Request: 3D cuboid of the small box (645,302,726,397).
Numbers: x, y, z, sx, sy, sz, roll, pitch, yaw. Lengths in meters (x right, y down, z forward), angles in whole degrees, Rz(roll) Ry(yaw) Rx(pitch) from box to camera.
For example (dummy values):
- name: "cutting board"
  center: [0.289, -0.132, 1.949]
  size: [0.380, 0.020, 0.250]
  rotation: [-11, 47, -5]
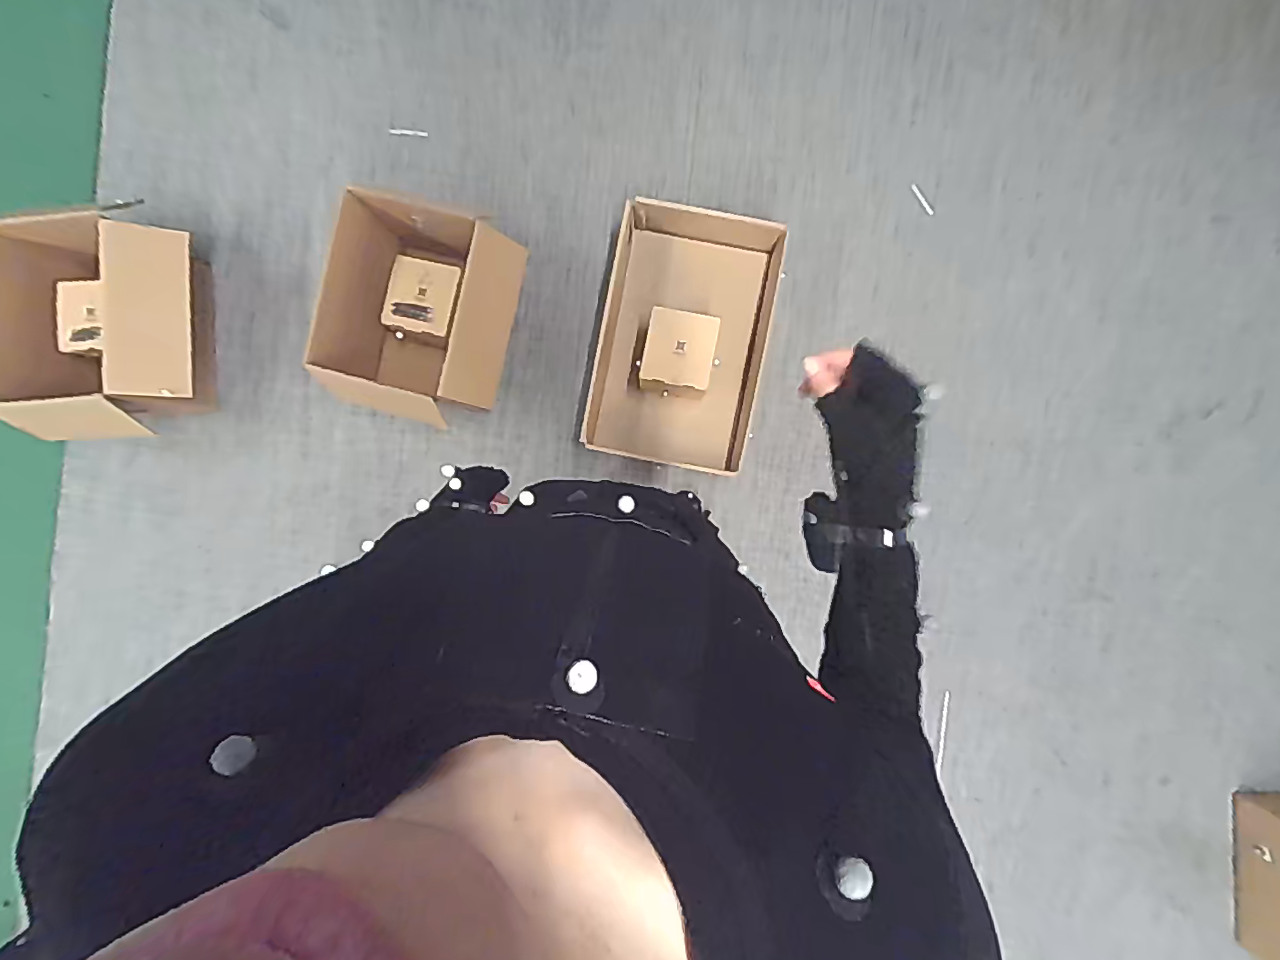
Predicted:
- name: "small box"
  center: [0.106, -0.316, 1.342]
  size: [0.168, 0.176, 0.179]
  rotation: [11, 91, 2]
